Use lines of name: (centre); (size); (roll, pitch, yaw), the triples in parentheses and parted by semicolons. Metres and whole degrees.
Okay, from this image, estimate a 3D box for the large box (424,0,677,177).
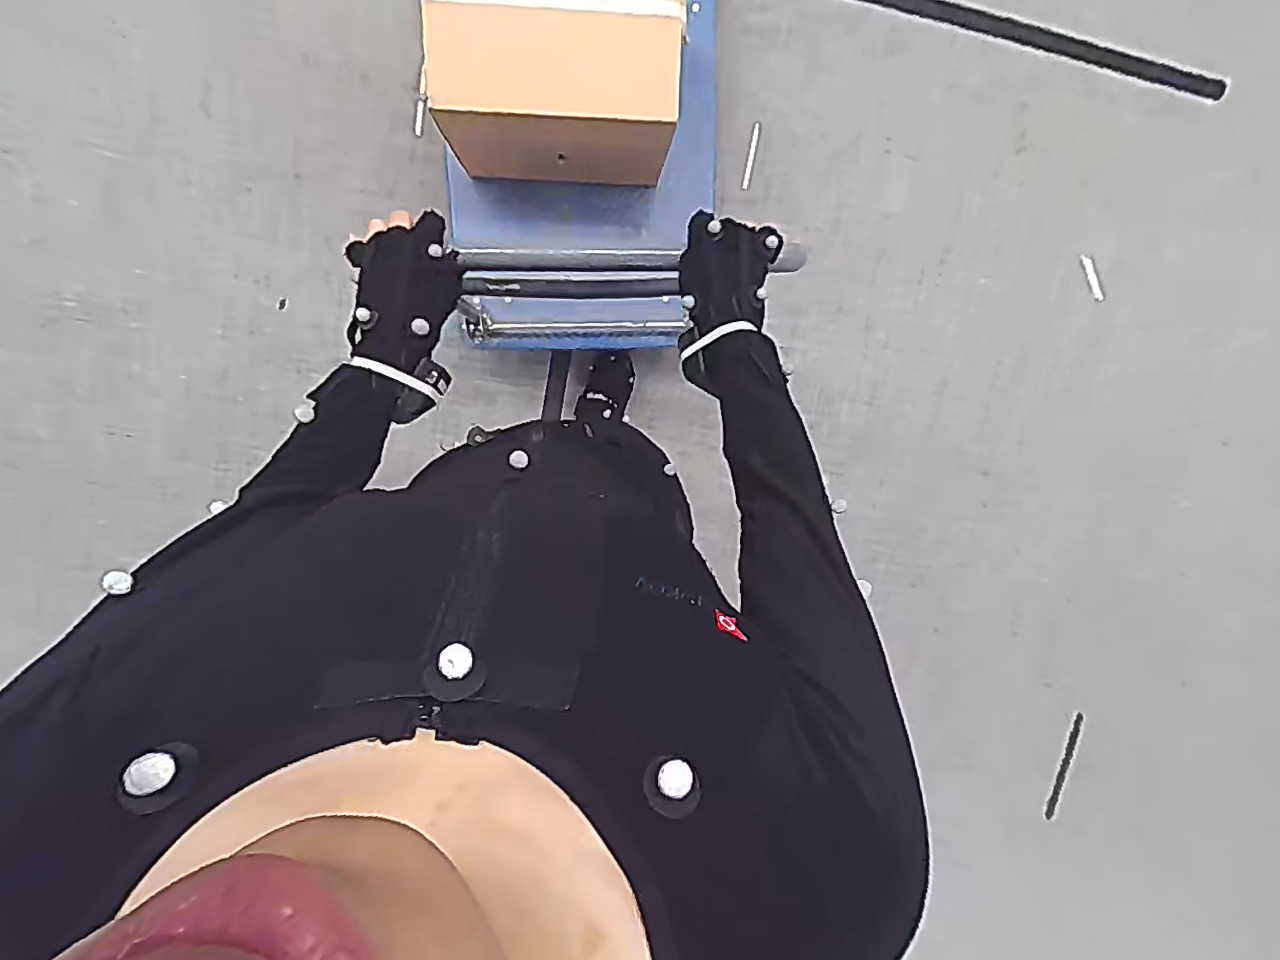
large box: (-0.147, -0.777, 0.998); (0.408, 0.320, 0.320); (0, 101, -4)
